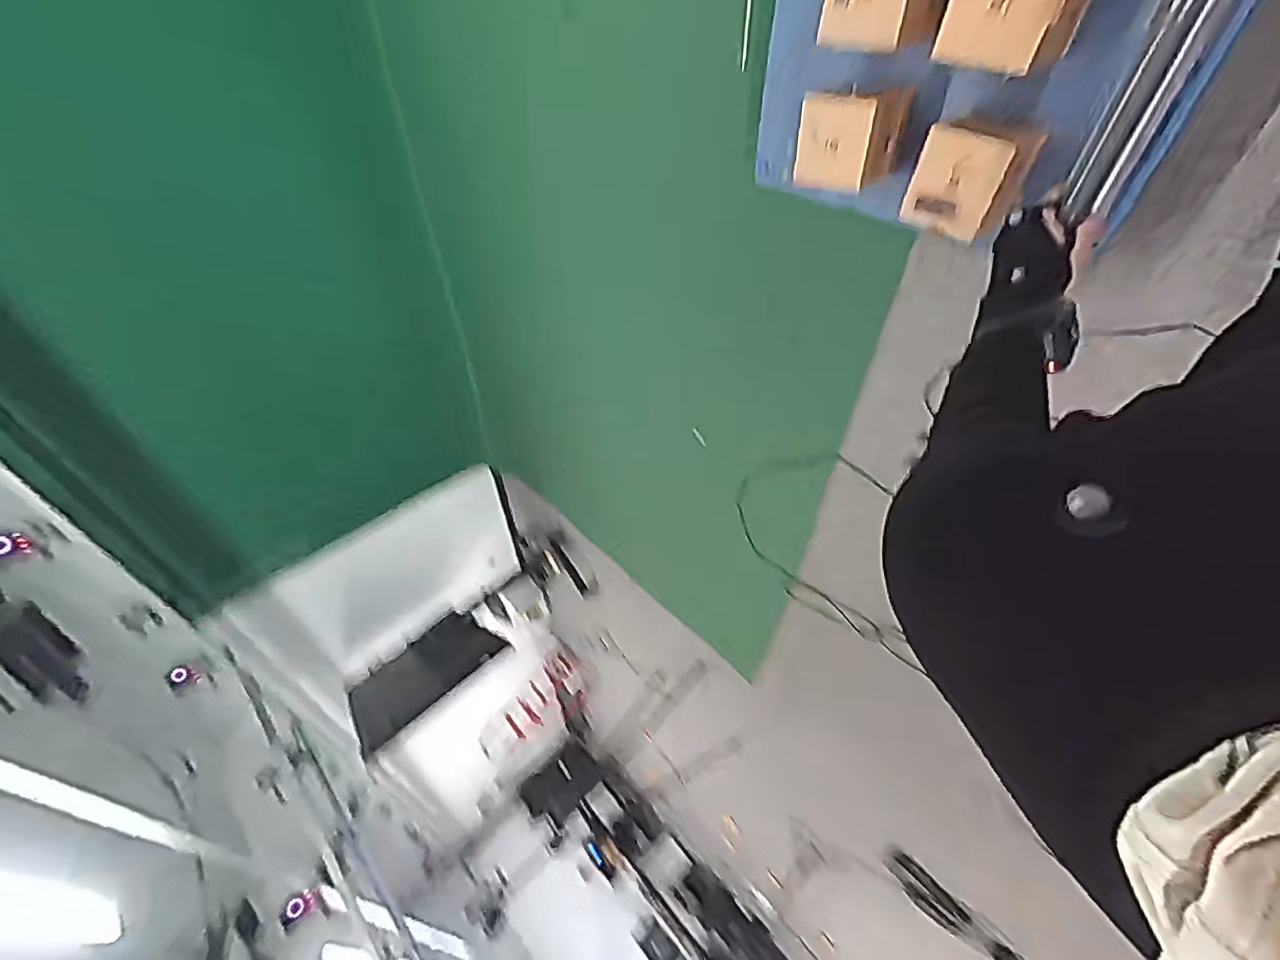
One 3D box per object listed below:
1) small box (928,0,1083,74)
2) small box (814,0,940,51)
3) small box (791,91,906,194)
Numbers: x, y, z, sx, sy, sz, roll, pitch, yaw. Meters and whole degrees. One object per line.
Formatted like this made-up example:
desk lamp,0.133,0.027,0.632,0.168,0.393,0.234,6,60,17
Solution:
small box,0.651,-0.832,0.942,0.179,0.176,0.168,36,146,28
small box,0.475,-0.960,1.061,0.179,0.176,0.168,33,145,31
small box,0.478,-0.780,1.242,0.179,0.176,0.168,33,143,33
